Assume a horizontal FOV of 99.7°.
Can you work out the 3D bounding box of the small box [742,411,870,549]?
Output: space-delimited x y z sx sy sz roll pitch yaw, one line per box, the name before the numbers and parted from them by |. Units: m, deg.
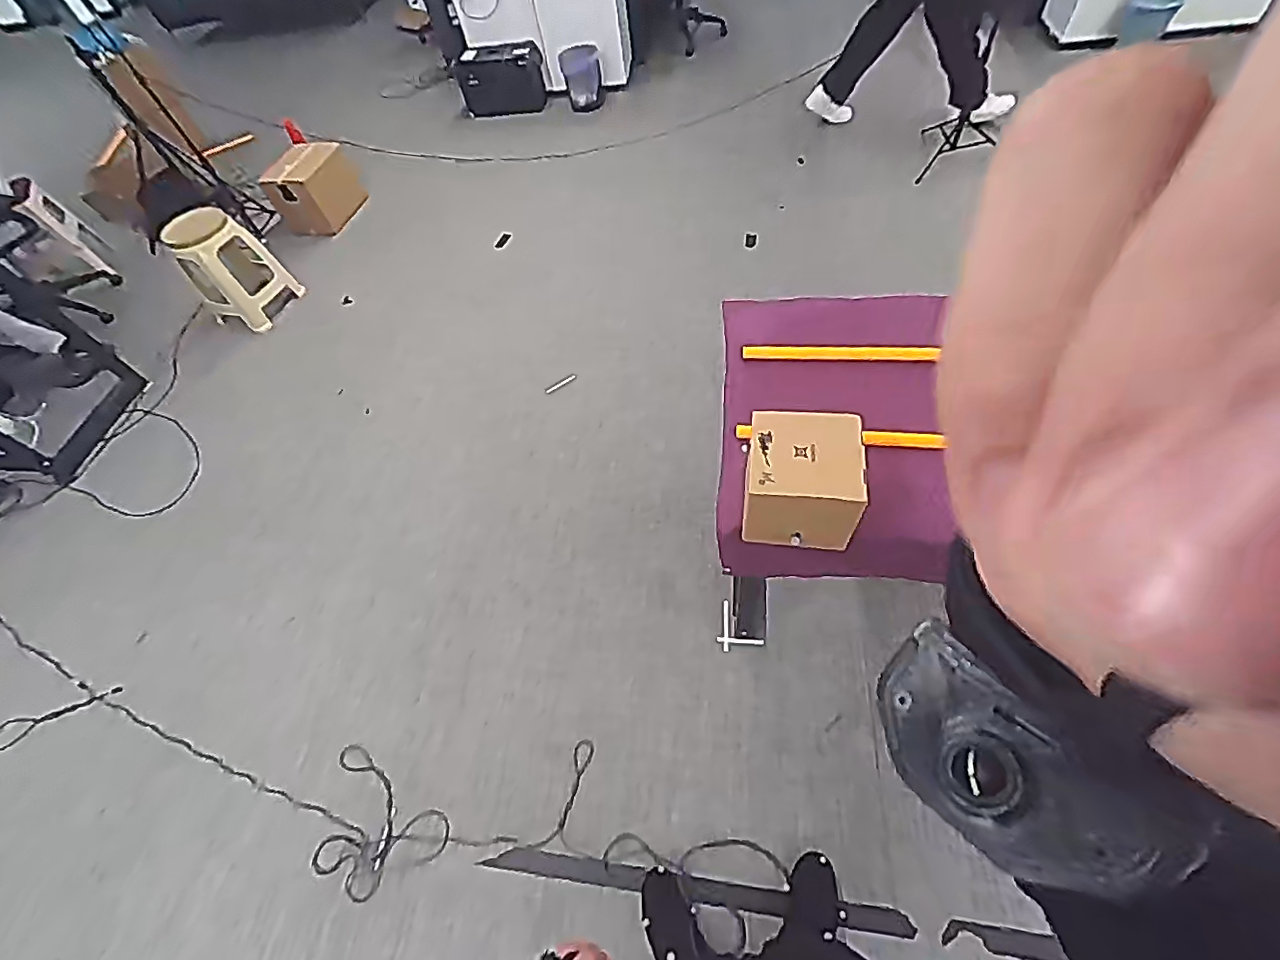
small box | 0.271 0.005 0.912 0.179 0.176 0.168 5 58 9
